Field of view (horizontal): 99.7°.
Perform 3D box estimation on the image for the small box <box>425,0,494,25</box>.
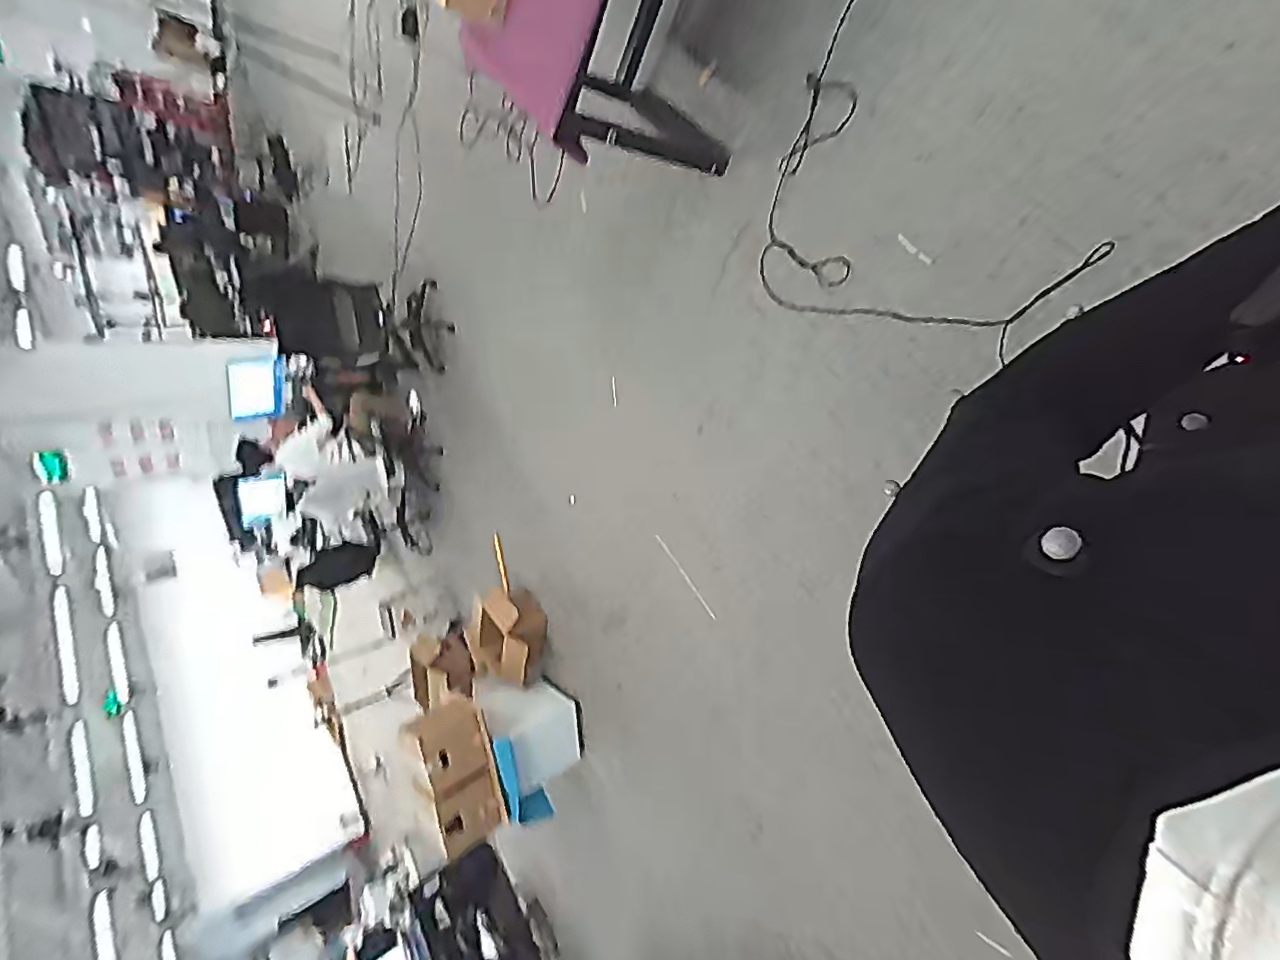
[{"bbox_3d":[-0.489,-1.351,1.430,0.179,0.176,0.168,54,135,21],"label":"small box"}]
